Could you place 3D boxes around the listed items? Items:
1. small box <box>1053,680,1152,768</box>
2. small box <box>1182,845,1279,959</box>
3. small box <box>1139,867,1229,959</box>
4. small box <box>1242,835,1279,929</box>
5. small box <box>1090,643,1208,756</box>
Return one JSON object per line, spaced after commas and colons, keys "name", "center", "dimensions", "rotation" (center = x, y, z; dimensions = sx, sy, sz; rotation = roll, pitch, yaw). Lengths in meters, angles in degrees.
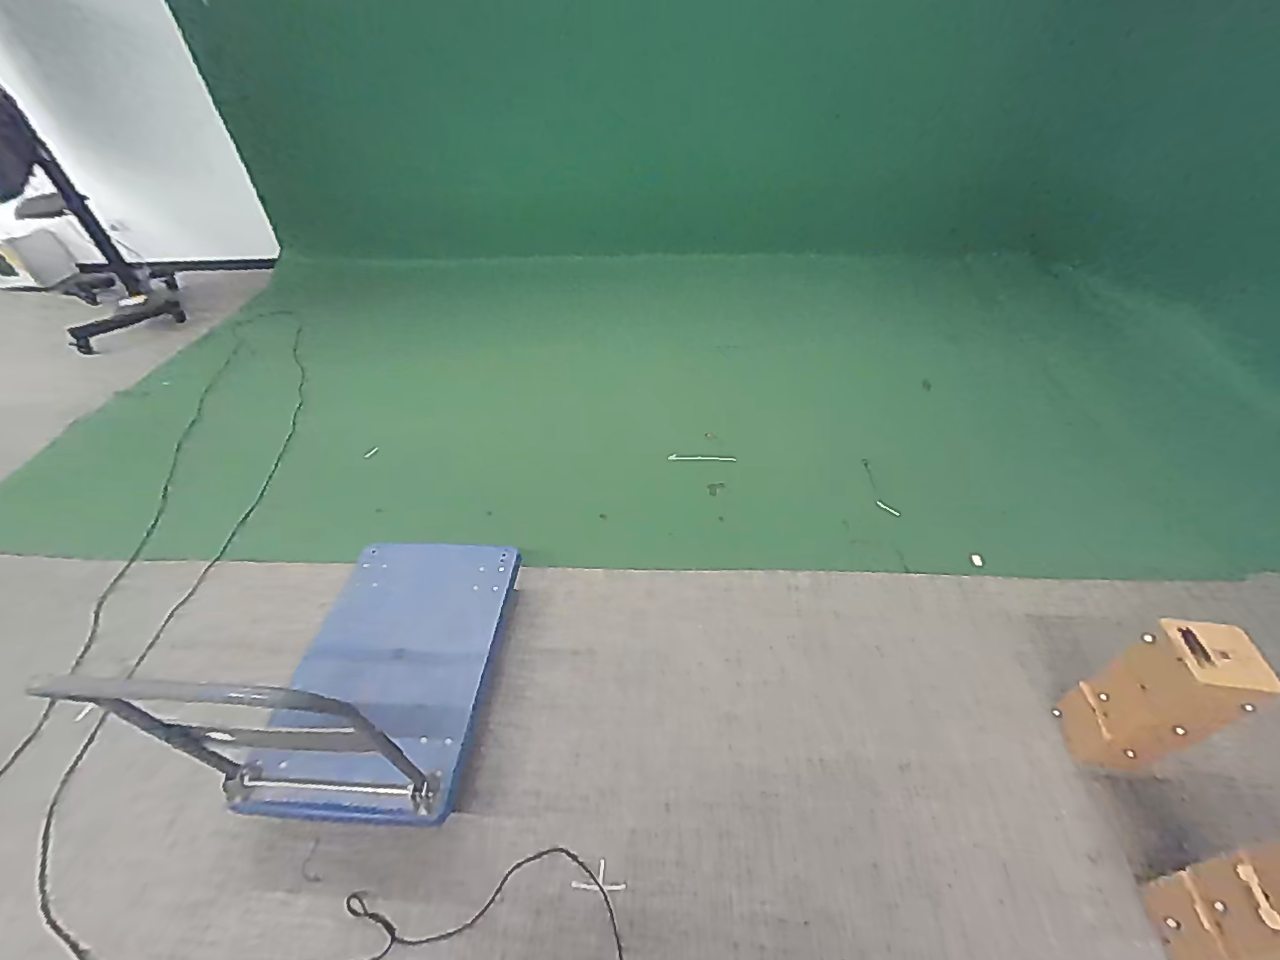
{"name": "small box", "center": [1.299, 0.683, 1.509], "dimensions": [0.179, 0.176, 0.168], "rotation": [5, 44, 7]}
{"name": "small box", "center": [1.267, 0.860, 1.078], "dimensions": [0.179, 0.176, 0.168], "rotation": [6, 43, 9]}
{"name": "small box", "center": [1.262, 0.980, 1.190], "dimensions": [0.179, 0.176, 0.168], "rotation": [2, 43, 6]}
{"name": "small box", "center": [1.261, 0.745, 0.962], "dimensions": [0.168, 0.176, 0.179], "rotation": [5, 43, 9]}
{"name": "small box", "center": [1.314, 0.569, 1.404], "dimensions": [0.168, 0.176, 0.179], "rotation": [28, 50, 31]}
